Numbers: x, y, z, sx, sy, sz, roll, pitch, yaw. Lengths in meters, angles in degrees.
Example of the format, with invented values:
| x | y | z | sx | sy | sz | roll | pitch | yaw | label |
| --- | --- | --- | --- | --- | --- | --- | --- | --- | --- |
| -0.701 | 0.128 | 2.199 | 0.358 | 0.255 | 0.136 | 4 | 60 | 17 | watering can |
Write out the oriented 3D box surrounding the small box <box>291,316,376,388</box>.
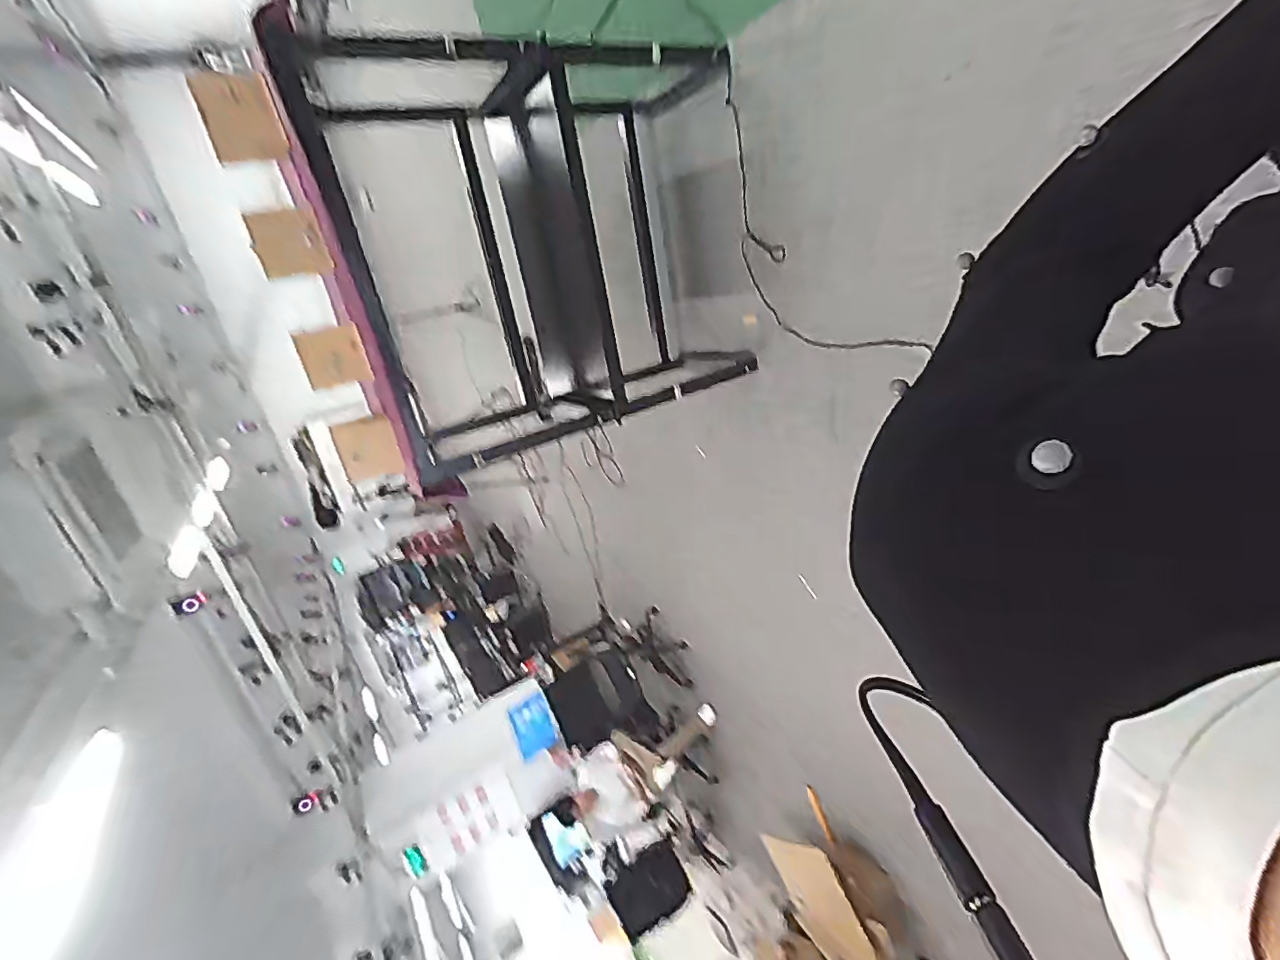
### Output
| x | y | z | sx | sy | sz | roll | pitch | yaw | label |
| --- | --- | --- | --- | --- | --- | --- | --- | --- | --- |
| -0.885 | -0.376 | 1.569 | 0.179 | 0.176 | 0.168 | 26 | 132 | 55 | small box |

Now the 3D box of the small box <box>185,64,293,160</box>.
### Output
| x | y | z | sx | sy | sz | roll | pitch | yaw | label |
| --- | --- | --- | --- | --- | --- | --- | --- | --- | --- |
| -0.999 | -0.927 | 1.366 | 0.179 | 0.176 | 0.168 | 27 | 133 | 55 | small box |

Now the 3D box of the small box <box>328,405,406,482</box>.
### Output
| x | y | z | sx | sy | sz | roll | pitch | yaw | label |
| --- | --- | --- | --- | --- | --- | --- | --- | --- | --- |
| -0.844 | -0.118 | 1.678 | 0.168 | 0.176 | 0.179 | 25 | 129 | 55 | small box |
